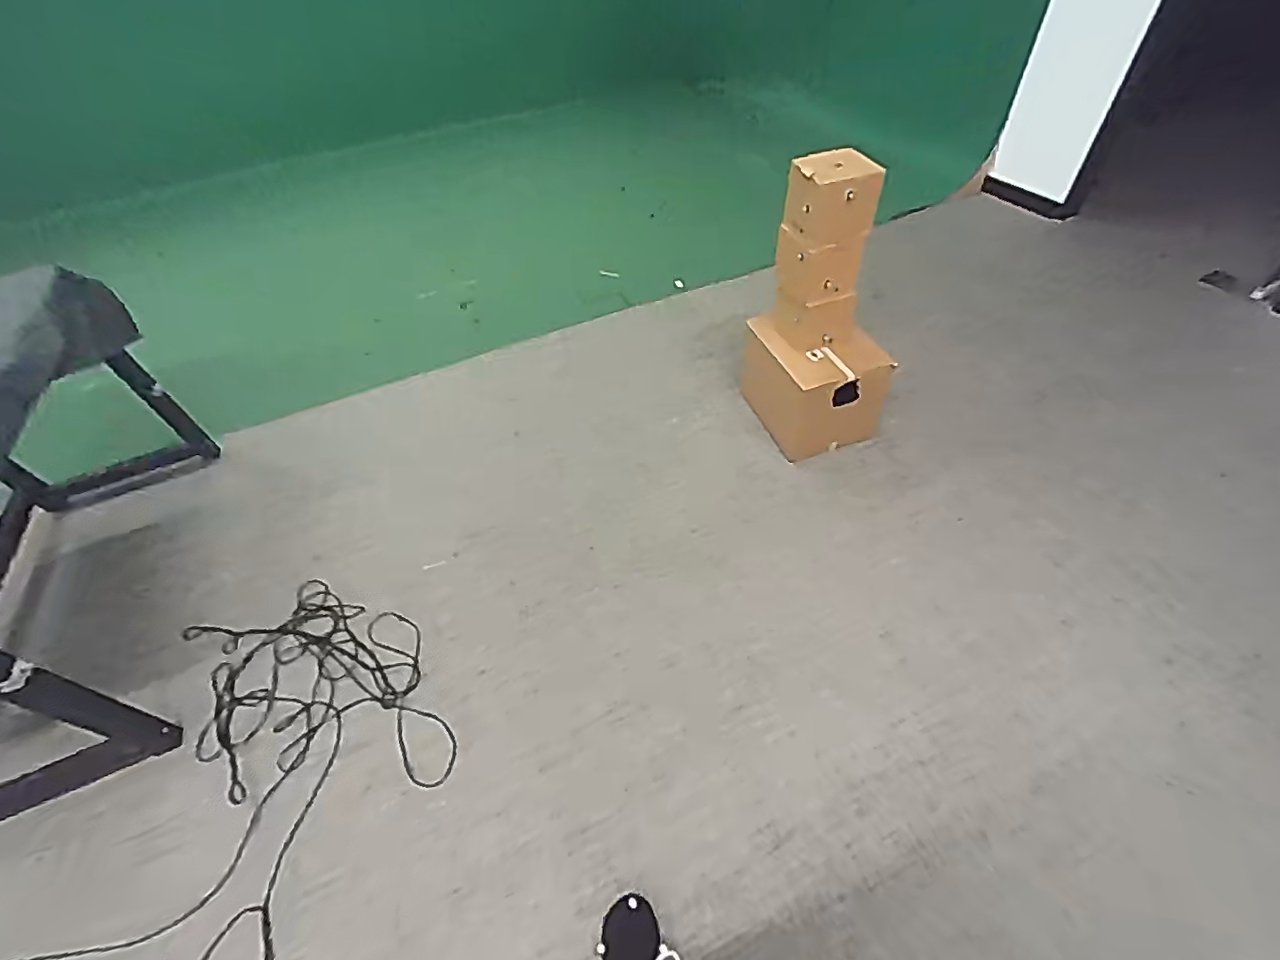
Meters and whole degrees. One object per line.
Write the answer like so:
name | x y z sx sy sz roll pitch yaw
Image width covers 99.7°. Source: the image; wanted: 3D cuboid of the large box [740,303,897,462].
large box | 0.571 -0.333 1.827 0.320 0.320 0.408 -17 51 -8

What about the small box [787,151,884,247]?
small box | 0.504 -0.739 1.429 0.179 0.176 0.168 -15 52 -9

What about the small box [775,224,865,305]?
small box | 0.506 -0.630 1.551 0.168 0.176 0.179 -18 51 -10
